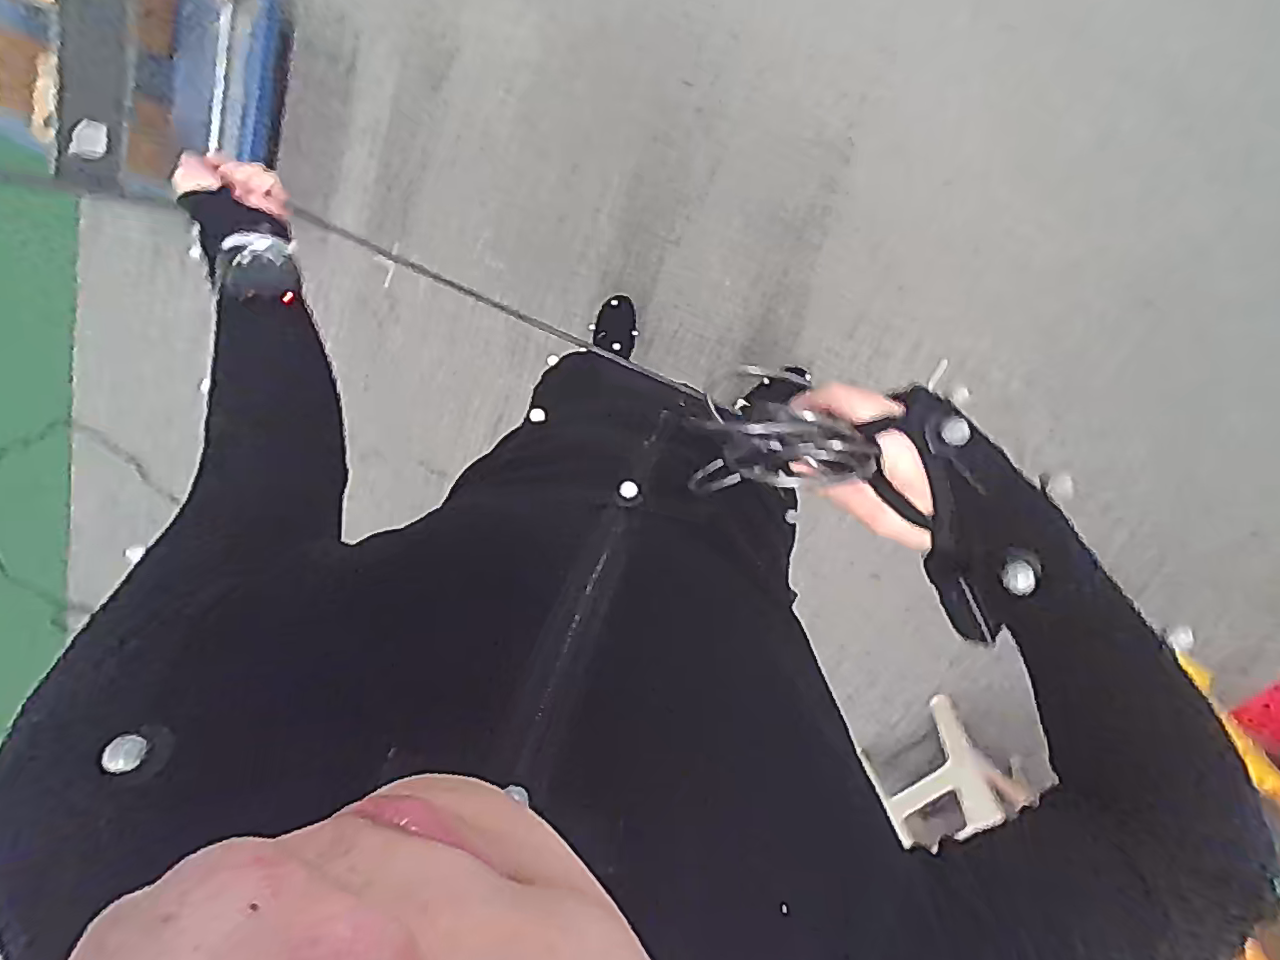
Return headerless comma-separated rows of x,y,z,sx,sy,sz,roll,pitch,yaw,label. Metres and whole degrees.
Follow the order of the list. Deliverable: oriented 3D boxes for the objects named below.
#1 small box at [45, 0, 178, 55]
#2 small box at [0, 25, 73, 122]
-1.188,-1.097,1.202,0.179,0.176,0.168,25,110,-1,small box
-1.515,-0.985,1.287,0.179,0.176,0.168,21,109,1,small box
